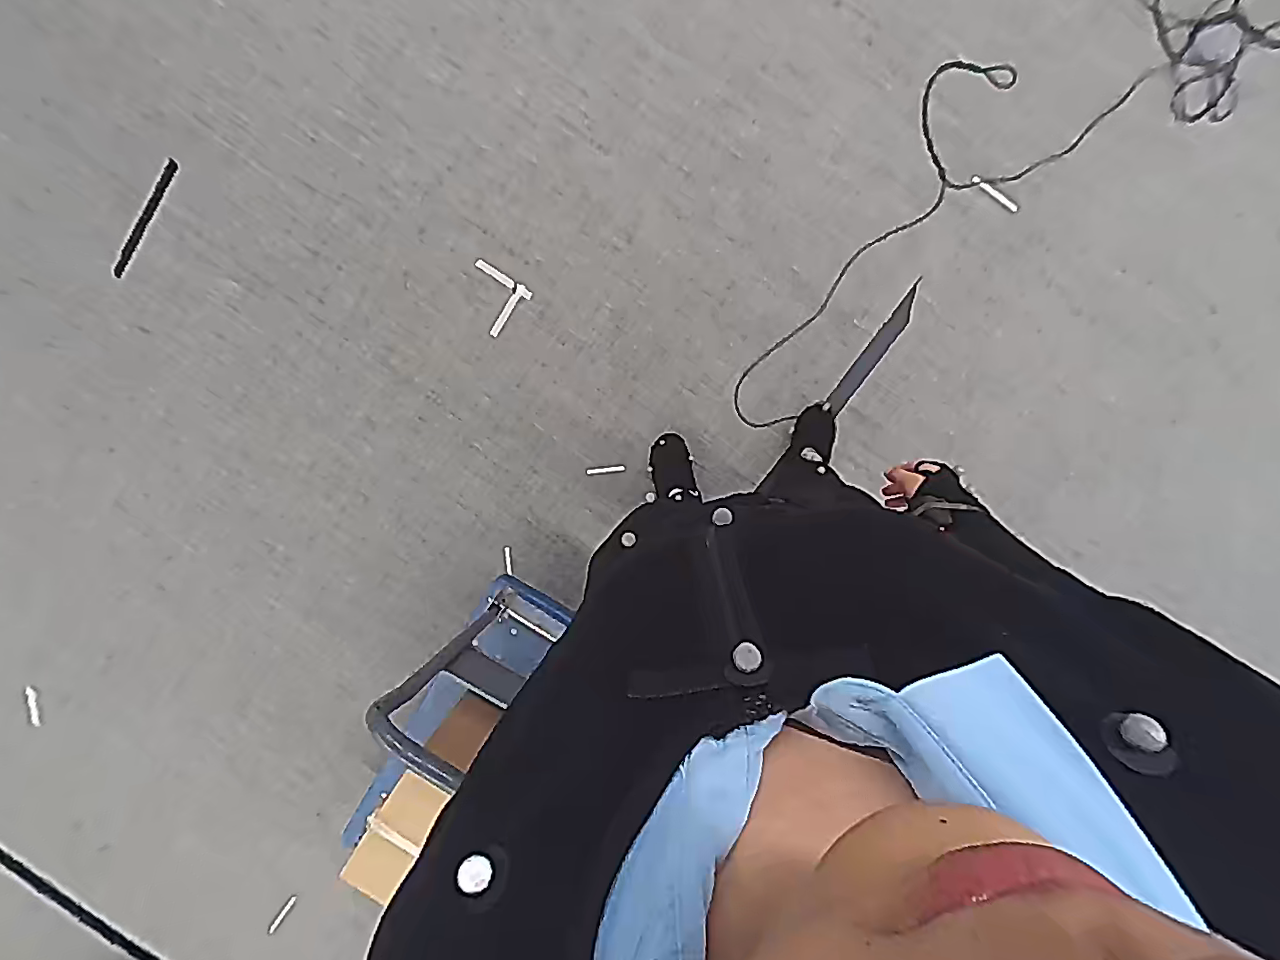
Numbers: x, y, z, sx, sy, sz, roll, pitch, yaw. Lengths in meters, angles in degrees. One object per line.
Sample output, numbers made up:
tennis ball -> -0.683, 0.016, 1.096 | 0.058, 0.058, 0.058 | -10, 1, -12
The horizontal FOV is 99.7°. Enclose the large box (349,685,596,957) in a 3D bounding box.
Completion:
large box -> -0.364, 0.768, 1.276 | 0.408, 0.320, 0.320 | 33, 97, -1
